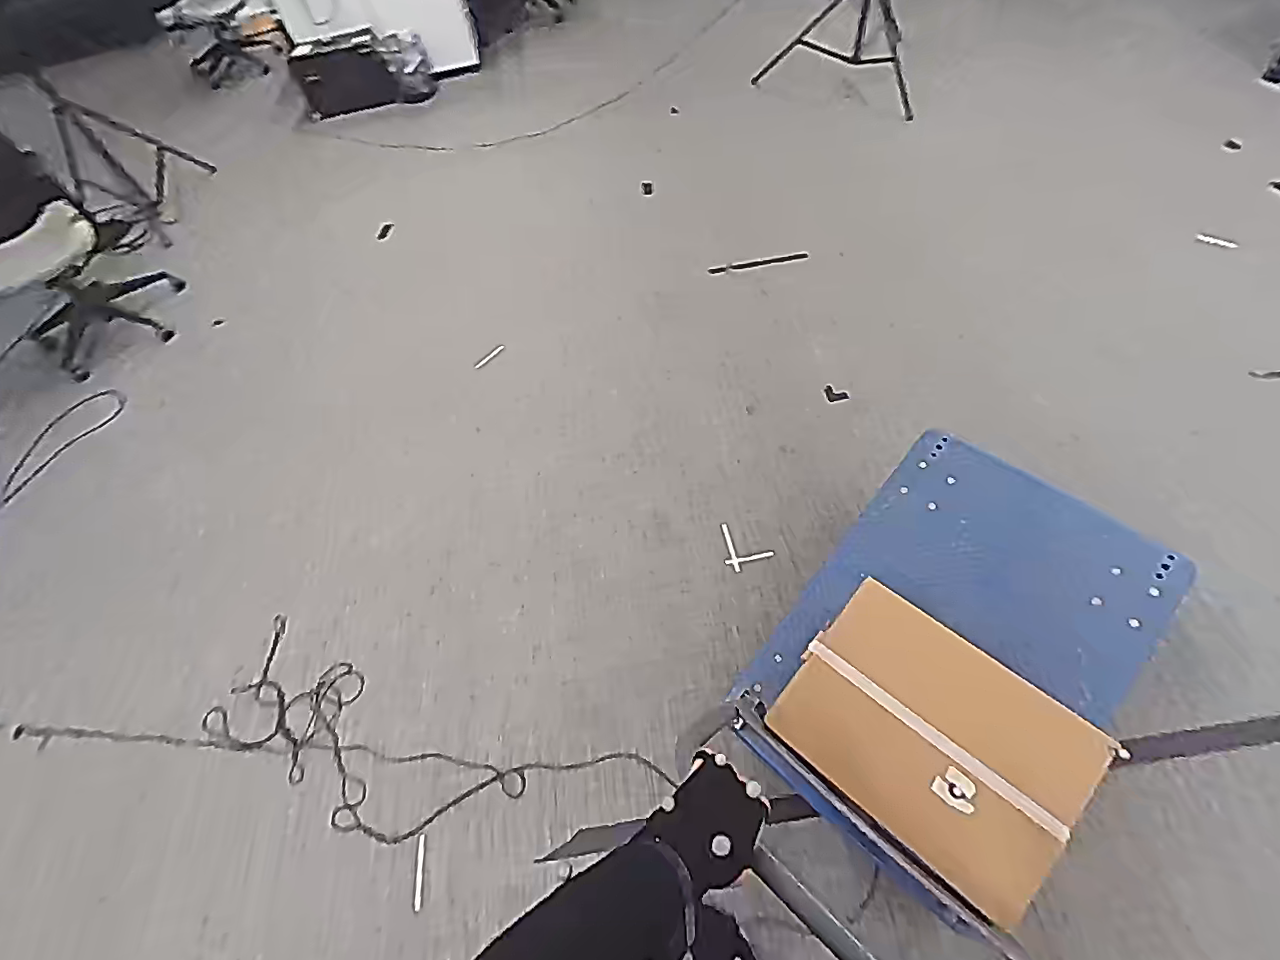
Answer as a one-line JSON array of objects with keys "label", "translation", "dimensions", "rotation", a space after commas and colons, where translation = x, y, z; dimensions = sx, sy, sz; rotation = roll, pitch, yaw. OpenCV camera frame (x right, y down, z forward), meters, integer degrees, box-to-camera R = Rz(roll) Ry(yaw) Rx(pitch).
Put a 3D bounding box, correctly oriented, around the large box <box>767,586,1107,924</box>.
[{"label": "large box", "translation": [0.482, 0.458, 0.986], "dimensions": [0.408, 0.320, 0.320], "rotation": [35, 80, 24]}]
